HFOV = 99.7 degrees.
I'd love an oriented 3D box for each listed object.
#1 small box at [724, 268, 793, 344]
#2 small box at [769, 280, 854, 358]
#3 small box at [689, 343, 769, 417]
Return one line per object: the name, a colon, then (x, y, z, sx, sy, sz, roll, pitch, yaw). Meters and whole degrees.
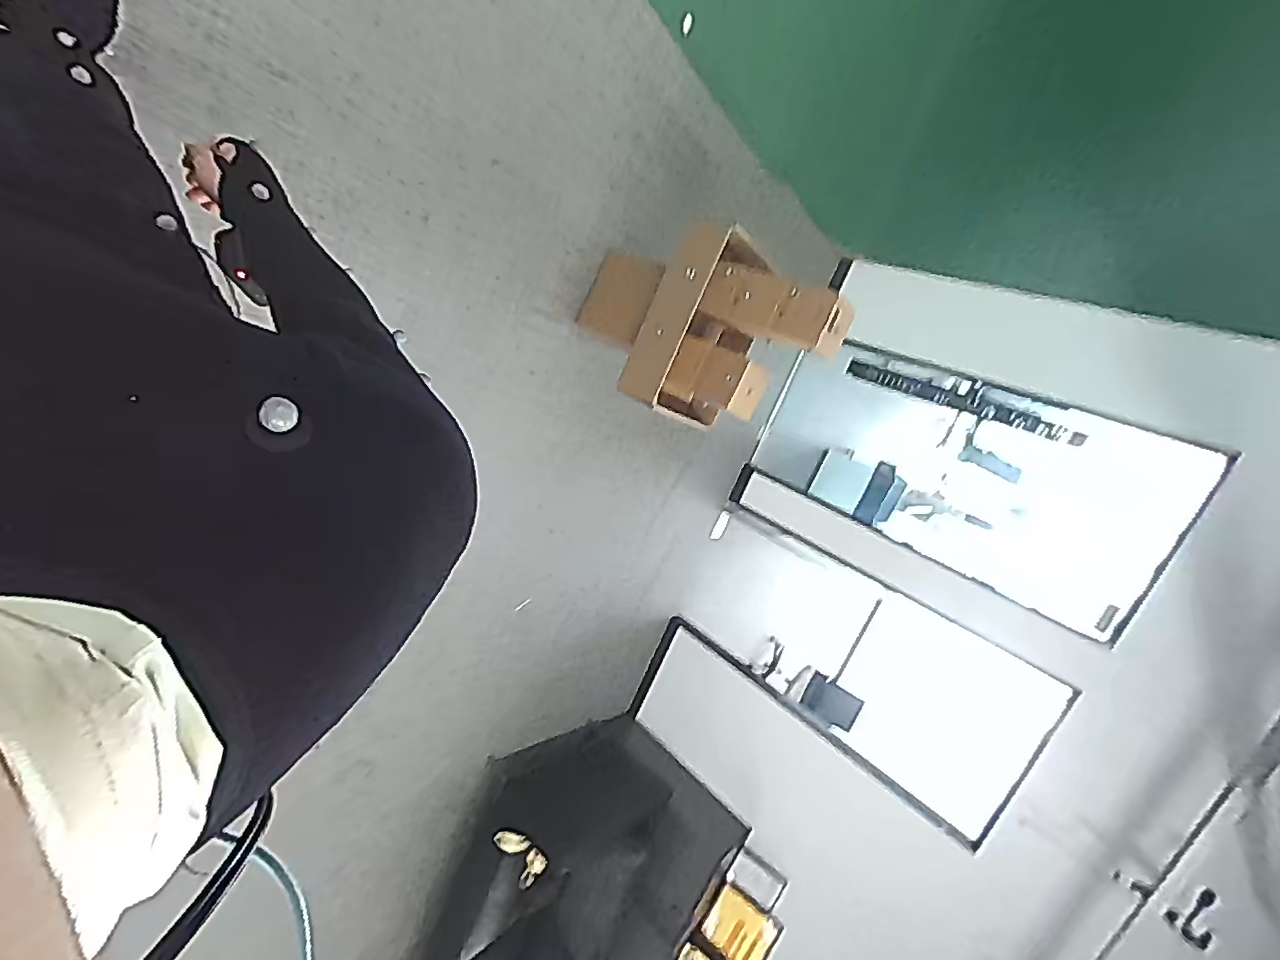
small box: (0.403, -0.568, 1.755, 0.179, 0.176, 0.168, 11, 107, -54)
small box: (0.525, -0.499, 1.668, 0.179, 0.176, 0.168, 8, 110, -55)
small box: (0.294, -0.335, 1.800, 0.168, 0.176, 0.179, 14, 105, -53)
